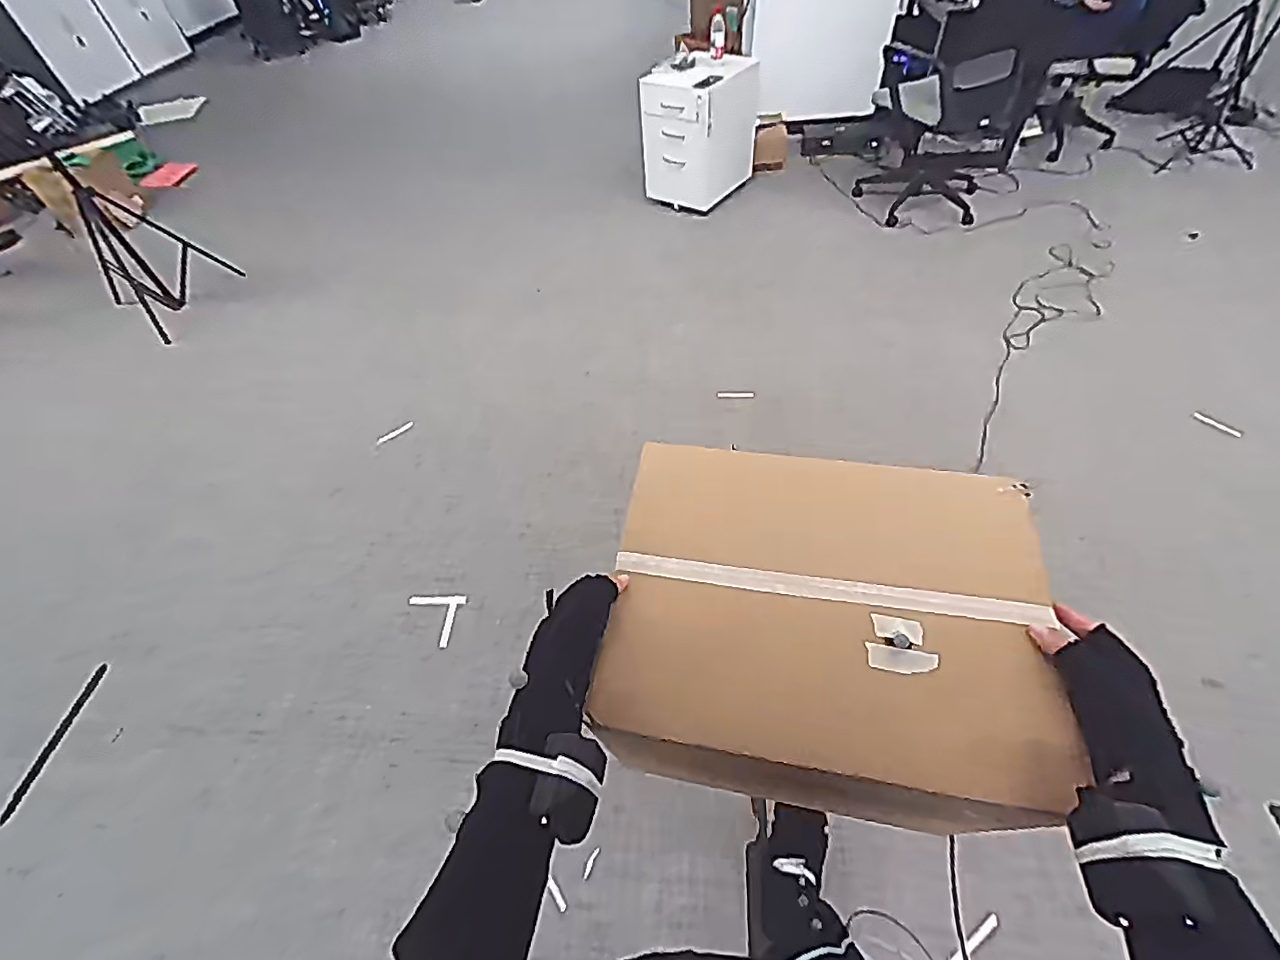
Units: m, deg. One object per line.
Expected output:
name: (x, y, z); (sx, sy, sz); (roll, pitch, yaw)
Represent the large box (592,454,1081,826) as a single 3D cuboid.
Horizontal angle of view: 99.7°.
large box: (0.184, 0.196, 0.651); (0.408, 0.320, 0.320); (6, 57, 9)
